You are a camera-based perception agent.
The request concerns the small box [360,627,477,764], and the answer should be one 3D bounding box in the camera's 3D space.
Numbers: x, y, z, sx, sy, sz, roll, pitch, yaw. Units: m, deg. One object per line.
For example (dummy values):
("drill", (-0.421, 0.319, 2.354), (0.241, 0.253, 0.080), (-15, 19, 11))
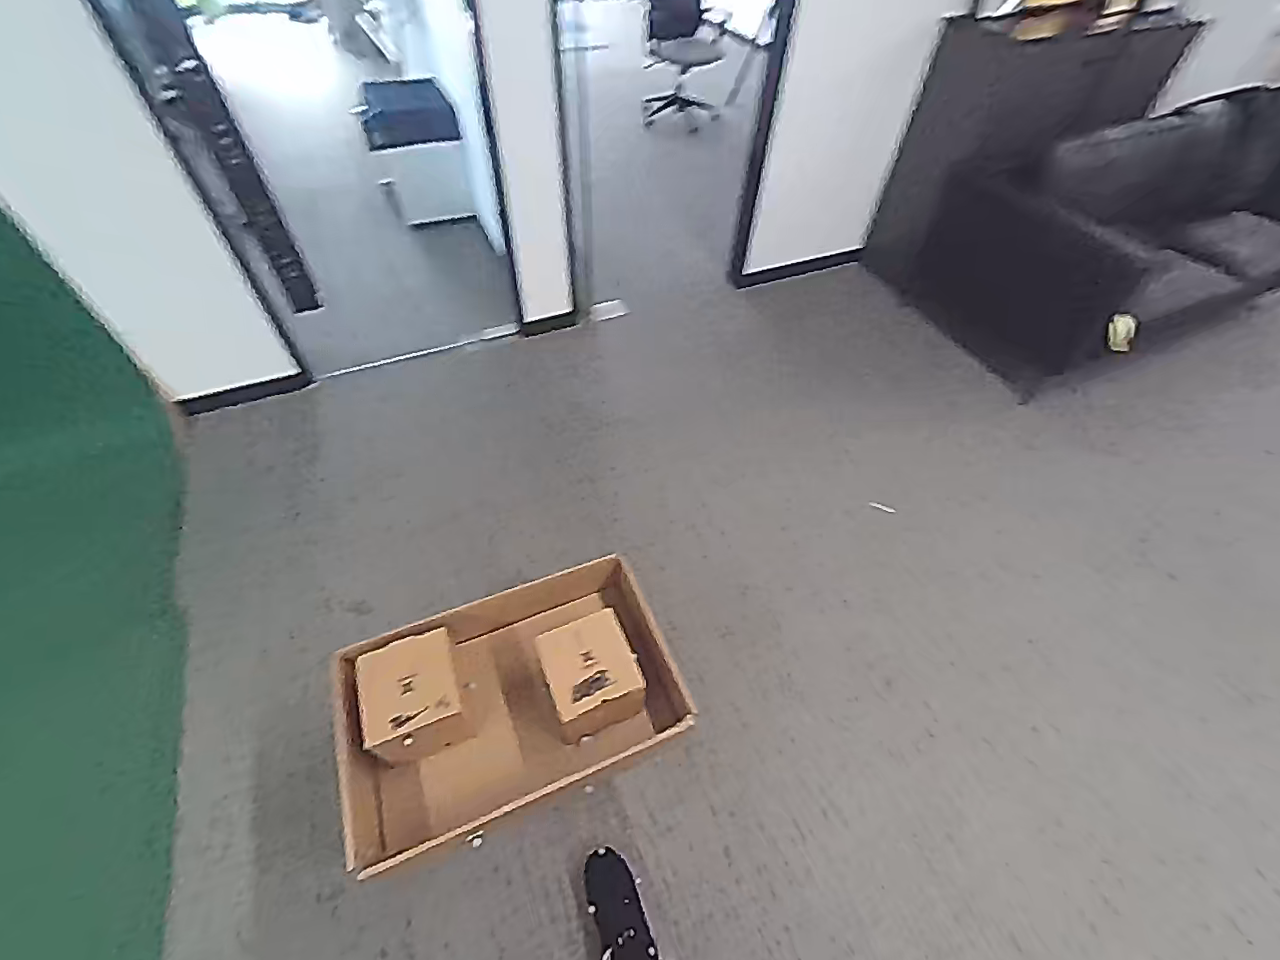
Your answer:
("small box", (-0.428, 0.421, 1.055), (0.168, 0.176, 0.179), (-16, 54, -15))
